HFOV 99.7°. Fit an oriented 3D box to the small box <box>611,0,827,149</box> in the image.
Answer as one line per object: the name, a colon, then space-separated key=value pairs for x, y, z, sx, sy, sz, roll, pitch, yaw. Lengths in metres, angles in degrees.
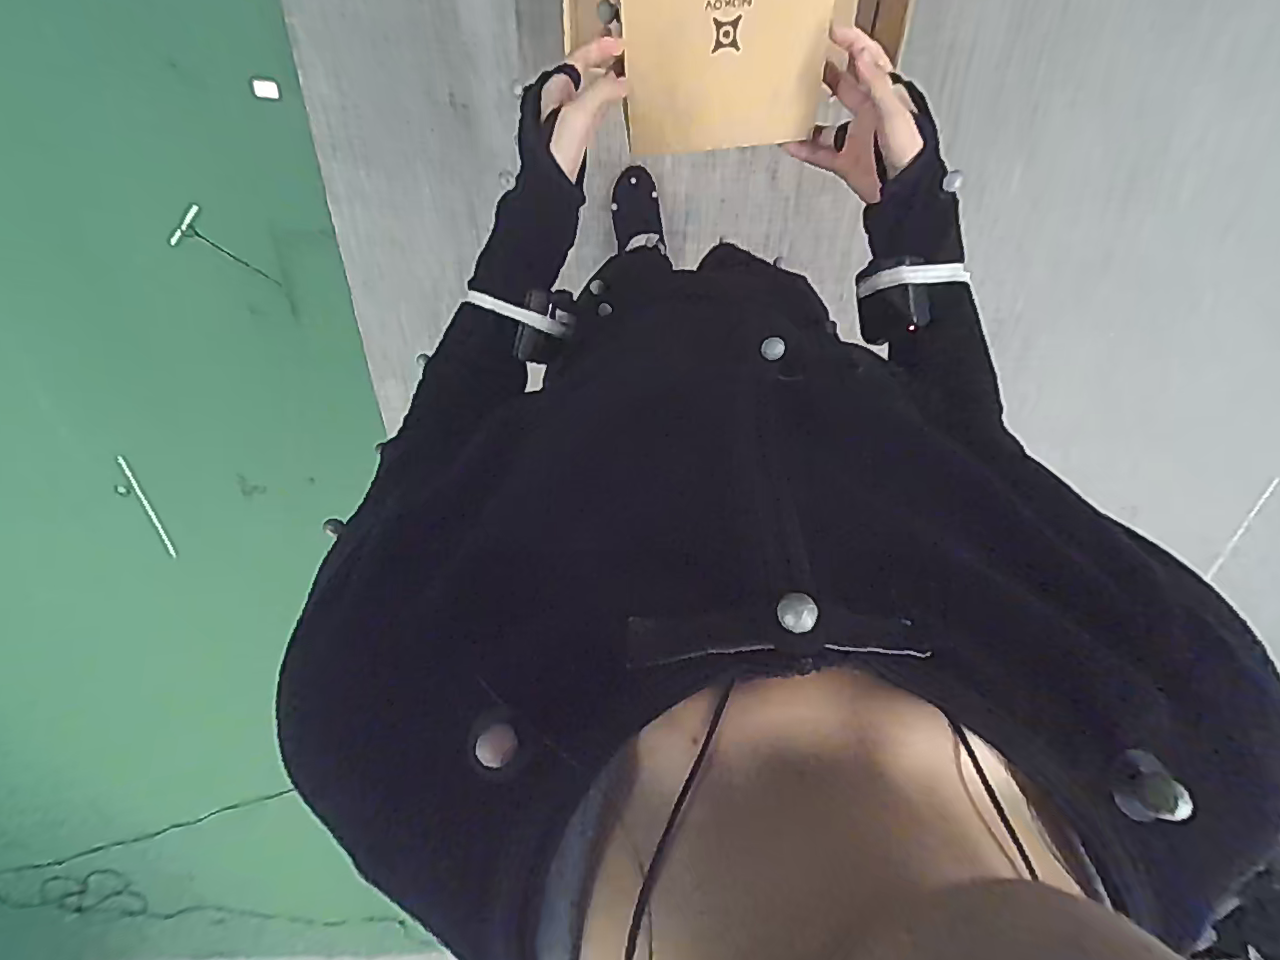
small box: x=0.059 y=-0.418 z=0.464 sx=0.168 sy=0.176 sz=0.179 roll=-4 pitch=141 yaw=2
